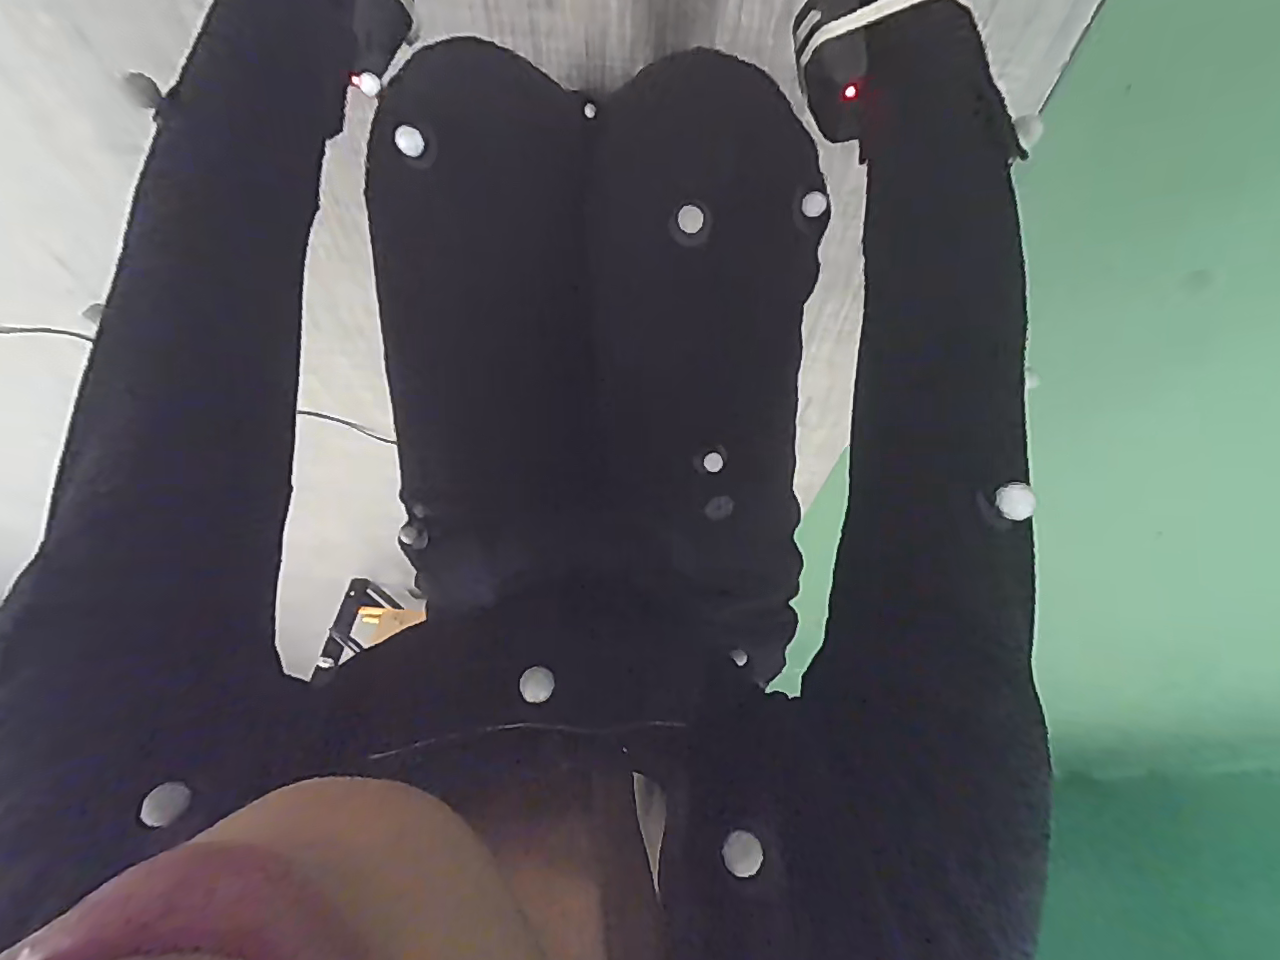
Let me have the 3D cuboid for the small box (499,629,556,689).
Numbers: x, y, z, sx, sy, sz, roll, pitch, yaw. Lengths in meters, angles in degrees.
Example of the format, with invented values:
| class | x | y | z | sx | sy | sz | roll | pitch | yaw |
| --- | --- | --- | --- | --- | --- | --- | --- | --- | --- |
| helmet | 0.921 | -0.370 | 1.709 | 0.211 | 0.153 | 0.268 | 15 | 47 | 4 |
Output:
| class | x | y | z | sx | sy | sz | roll | pitch | yaw |
| --- | --- | --- | --- | --- | --- | --- | --- | --- | --- |
| small box | -0.419 | 0.674 | 2.035 | 0.168 | 0.176 | 0.179 | 7 | 147 | 2 |
